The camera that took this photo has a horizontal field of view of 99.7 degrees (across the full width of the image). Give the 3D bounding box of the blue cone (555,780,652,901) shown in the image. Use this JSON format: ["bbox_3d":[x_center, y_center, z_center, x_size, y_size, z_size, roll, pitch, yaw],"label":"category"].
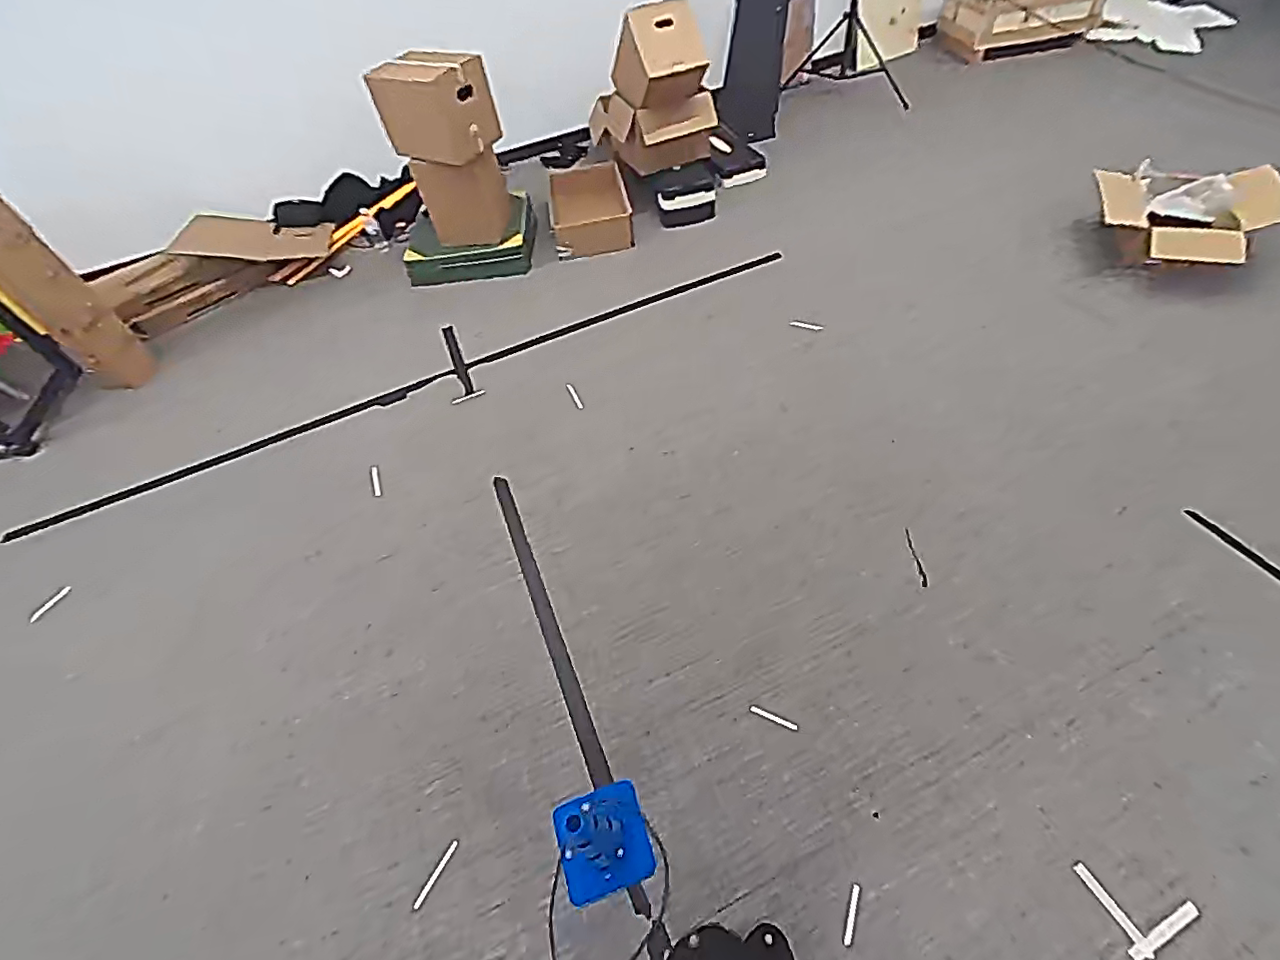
[{"bbox_3d":[-0.099,0.705,1.075,0.193,0.380,0.192,-21,53,-8],"label":"blue cone"}]
